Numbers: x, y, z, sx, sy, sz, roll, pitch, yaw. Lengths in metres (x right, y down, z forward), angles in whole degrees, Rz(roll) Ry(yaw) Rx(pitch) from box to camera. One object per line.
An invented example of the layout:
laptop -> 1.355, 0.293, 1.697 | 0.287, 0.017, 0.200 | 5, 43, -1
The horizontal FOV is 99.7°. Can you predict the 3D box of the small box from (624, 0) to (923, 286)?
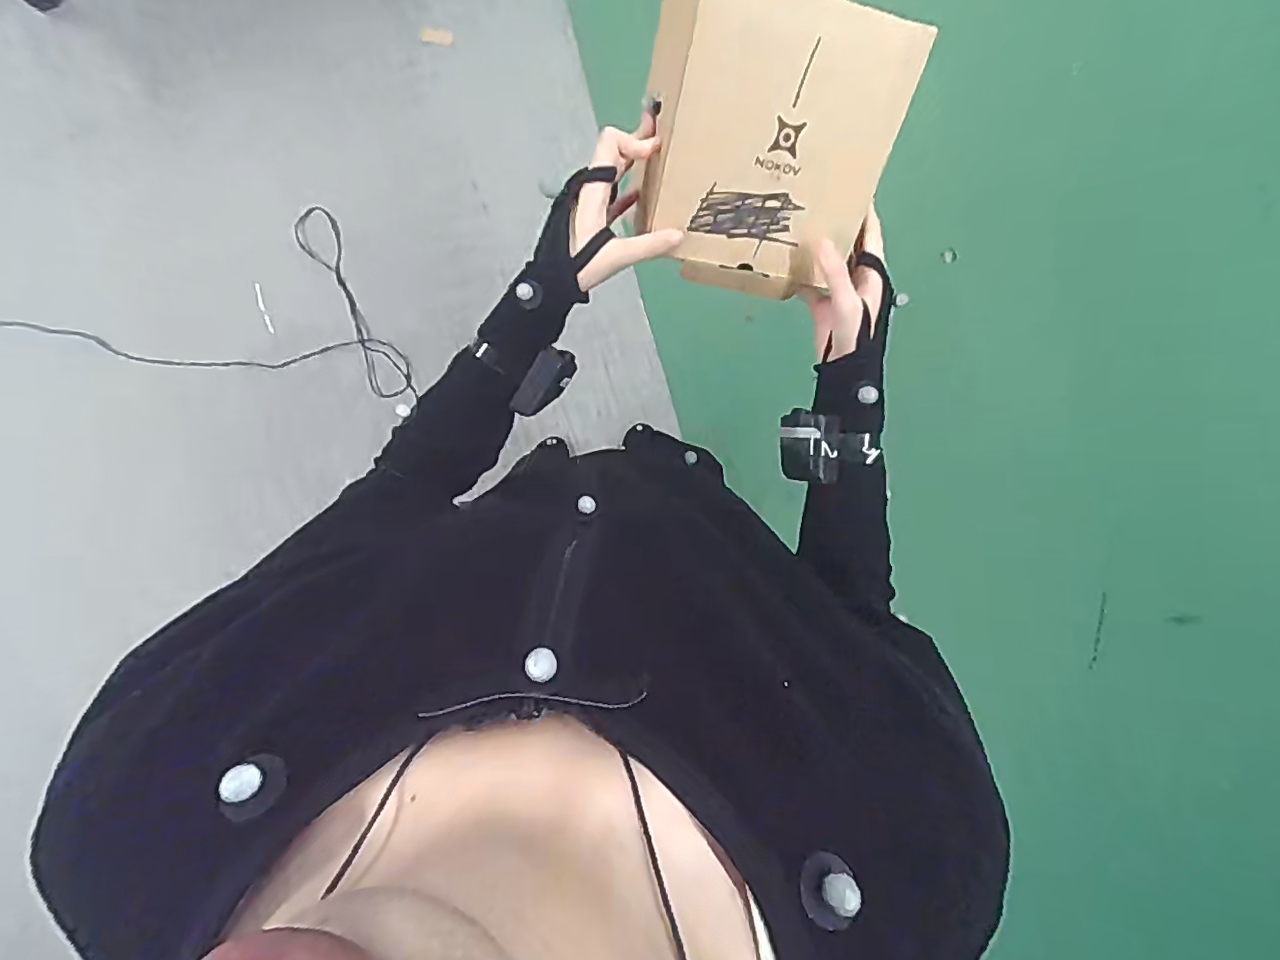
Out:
small box -> 0.086, -0.287, 0.456 | 0.168, 0.176, 0.179 | 6, 123, -14
